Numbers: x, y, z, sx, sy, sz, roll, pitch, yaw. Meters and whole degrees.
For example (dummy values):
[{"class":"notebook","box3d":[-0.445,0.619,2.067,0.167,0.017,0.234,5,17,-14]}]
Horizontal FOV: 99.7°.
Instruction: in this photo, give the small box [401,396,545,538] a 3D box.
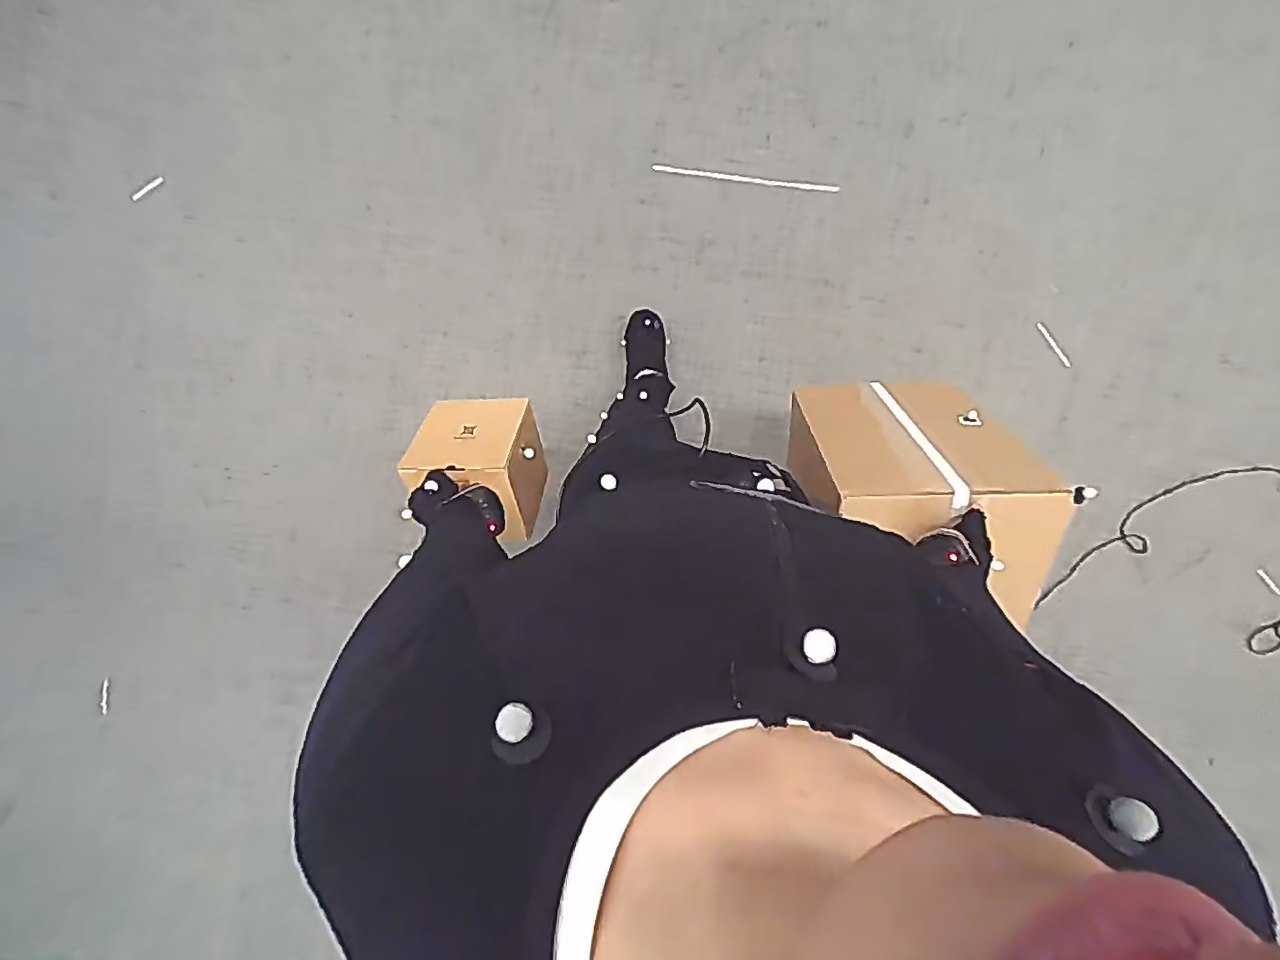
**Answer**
[{"class":"small box","box3d":[-0.264,-0.022,0.908,0.168,0.179,0.176,-1,134,6]}]
